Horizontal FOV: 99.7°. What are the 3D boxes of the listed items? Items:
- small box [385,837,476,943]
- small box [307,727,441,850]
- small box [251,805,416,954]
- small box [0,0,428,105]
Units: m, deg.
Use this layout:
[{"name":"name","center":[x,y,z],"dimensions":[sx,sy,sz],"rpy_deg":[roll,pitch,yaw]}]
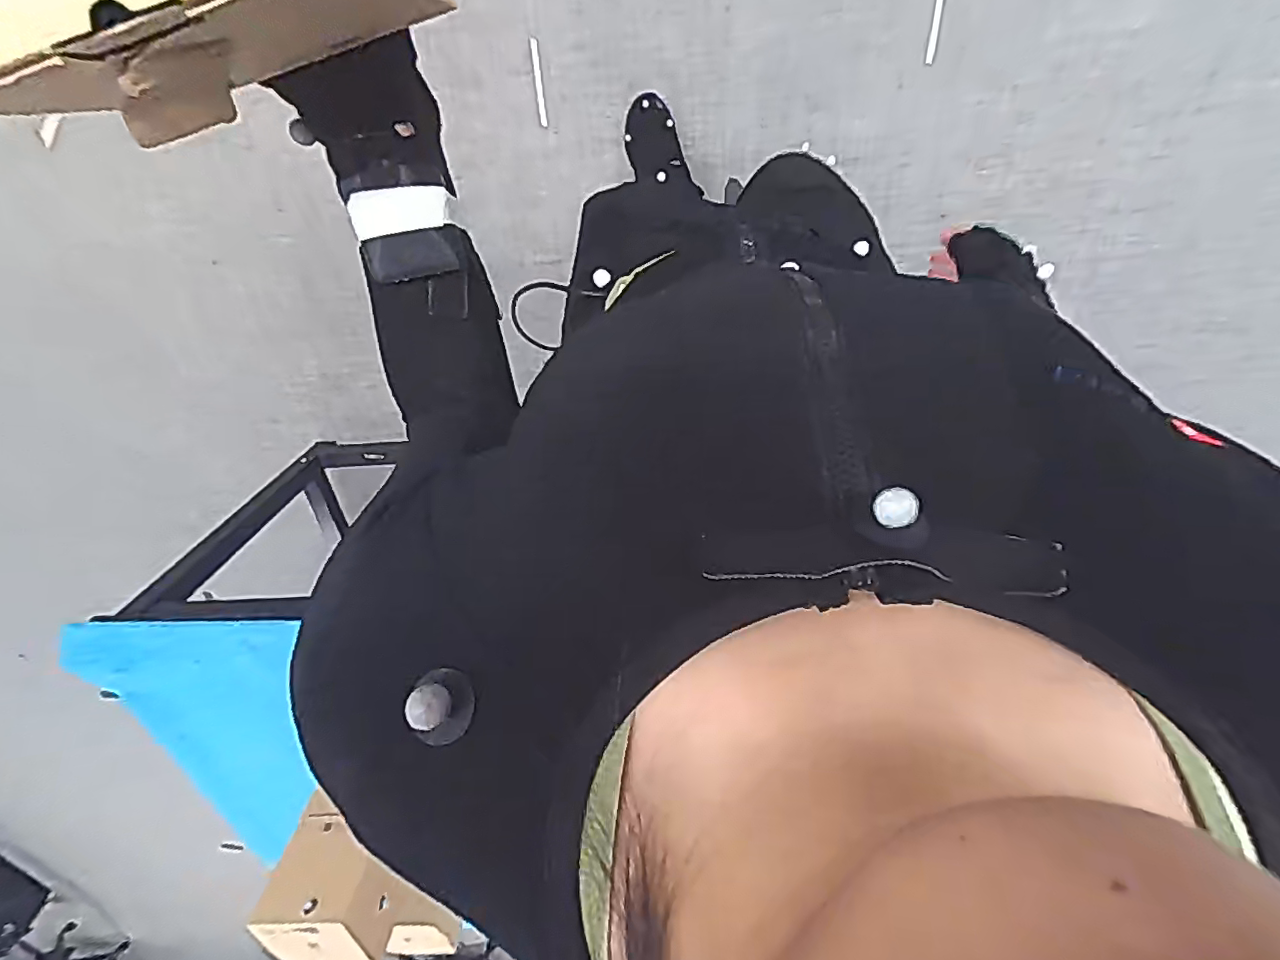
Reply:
[{"name":"small box","center":[-0.533,1.025,1.357],"dimensions":[0.179,0.176,0.168],"rpy_deg":[-2,123,2]},{"name":"small box","center":[-0.536,0.641,1.121],"dimensions":[0.168,0.176,0.179],"rpy_deg":[-3,121,4]},{"name":"small box","center":[-0.537,0.719,0.978],"dimensions":[0.168,0.176,0.179],"rpy_deg":[-6,120,7]},{"name":"small box","center":[-0.197,-0.252,0.182],"dimensions":[0.168,0.176,0.179],"rpy_deg":[-16,125,5]}]
